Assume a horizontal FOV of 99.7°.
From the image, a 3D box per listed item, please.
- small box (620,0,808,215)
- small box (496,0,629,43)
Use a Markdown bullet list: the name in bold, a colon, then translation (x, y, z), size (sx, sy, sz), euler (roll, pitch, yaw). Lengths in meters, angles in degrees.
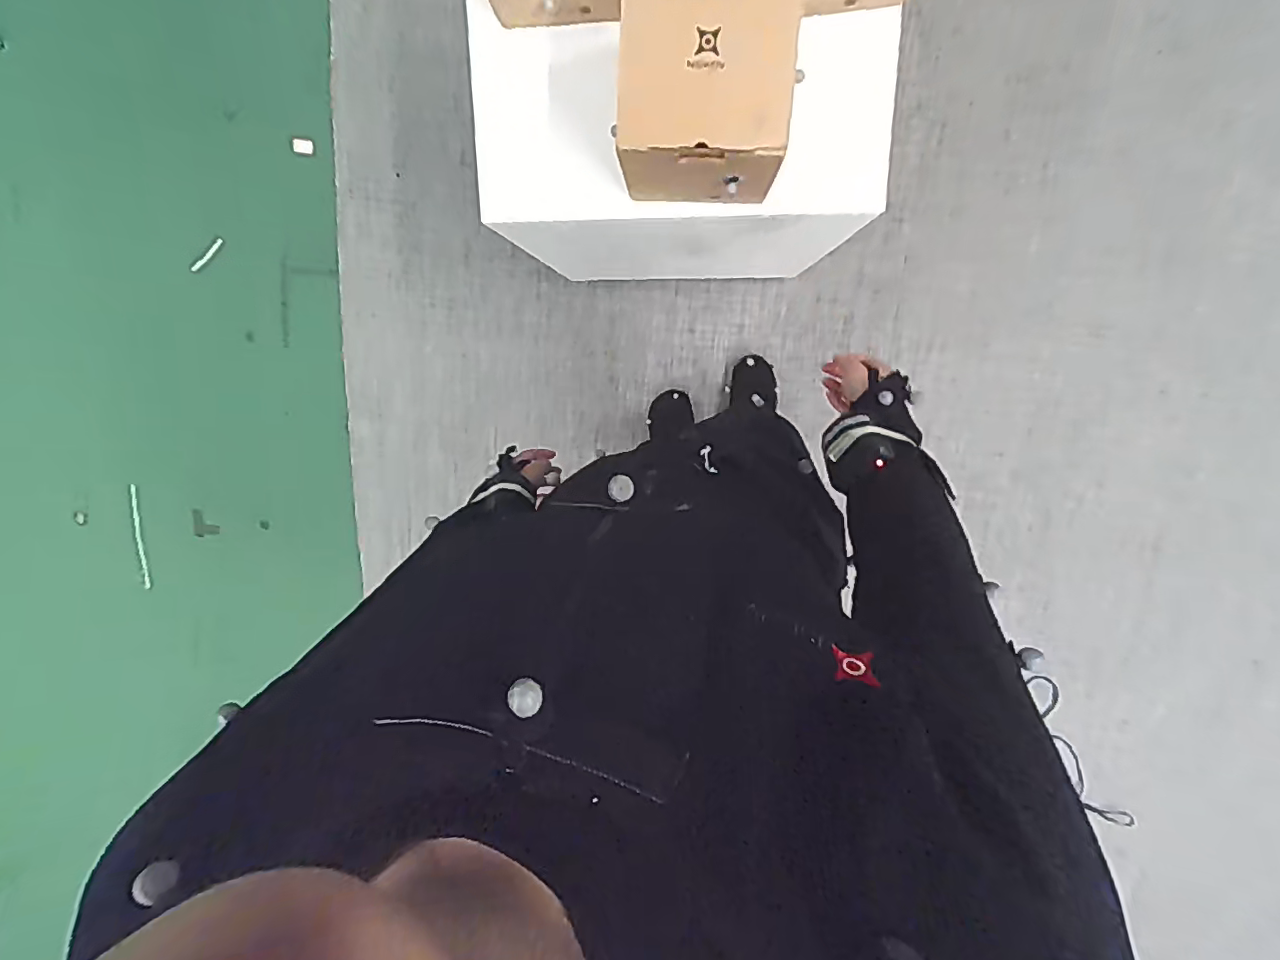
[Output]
- **small box**: translation (0.074, -0.400, 0.581), size (0.168, 0.176, 0.179), euler (4, 101, 4)
- **small box**: translation (-0.083, -0.596, 0.553), size (0.168, 0.176, 0.179), euler (0, 103, 4)
